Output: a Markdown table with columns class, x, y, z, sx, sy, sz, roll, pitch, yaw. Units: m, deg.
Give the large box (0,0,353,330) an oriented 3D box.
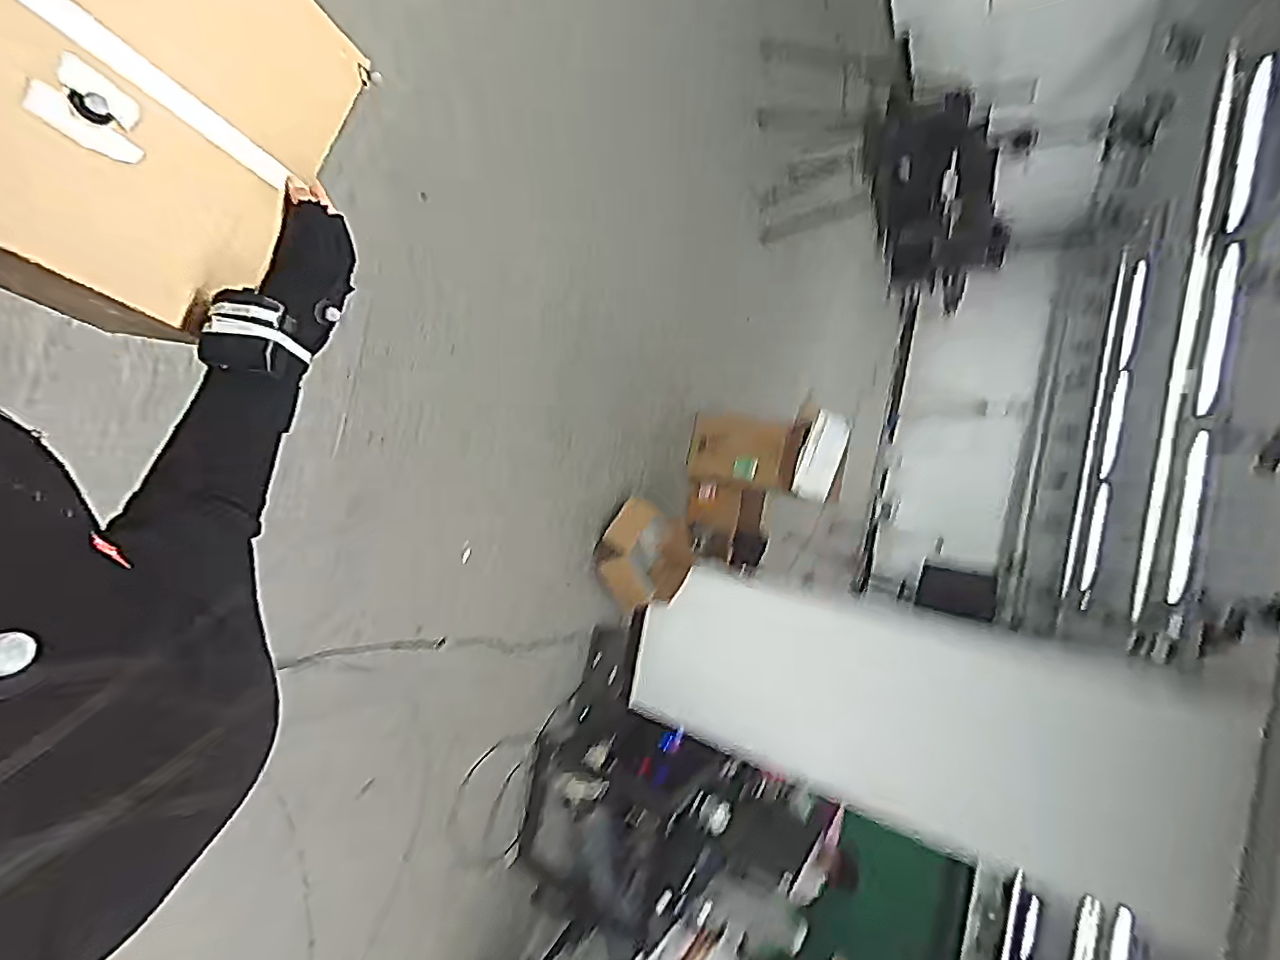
| class | x | y | z | sx | sy | sz | roll | pitch | yaw |
| --- | --- | --- | --- | --- | --- | --- | --- | --- | --- |
| large box | -0.533 | -0.352 | 0.402 | 0.408 | 0.320 | 0.320 | 32 | 74 | -59 |
